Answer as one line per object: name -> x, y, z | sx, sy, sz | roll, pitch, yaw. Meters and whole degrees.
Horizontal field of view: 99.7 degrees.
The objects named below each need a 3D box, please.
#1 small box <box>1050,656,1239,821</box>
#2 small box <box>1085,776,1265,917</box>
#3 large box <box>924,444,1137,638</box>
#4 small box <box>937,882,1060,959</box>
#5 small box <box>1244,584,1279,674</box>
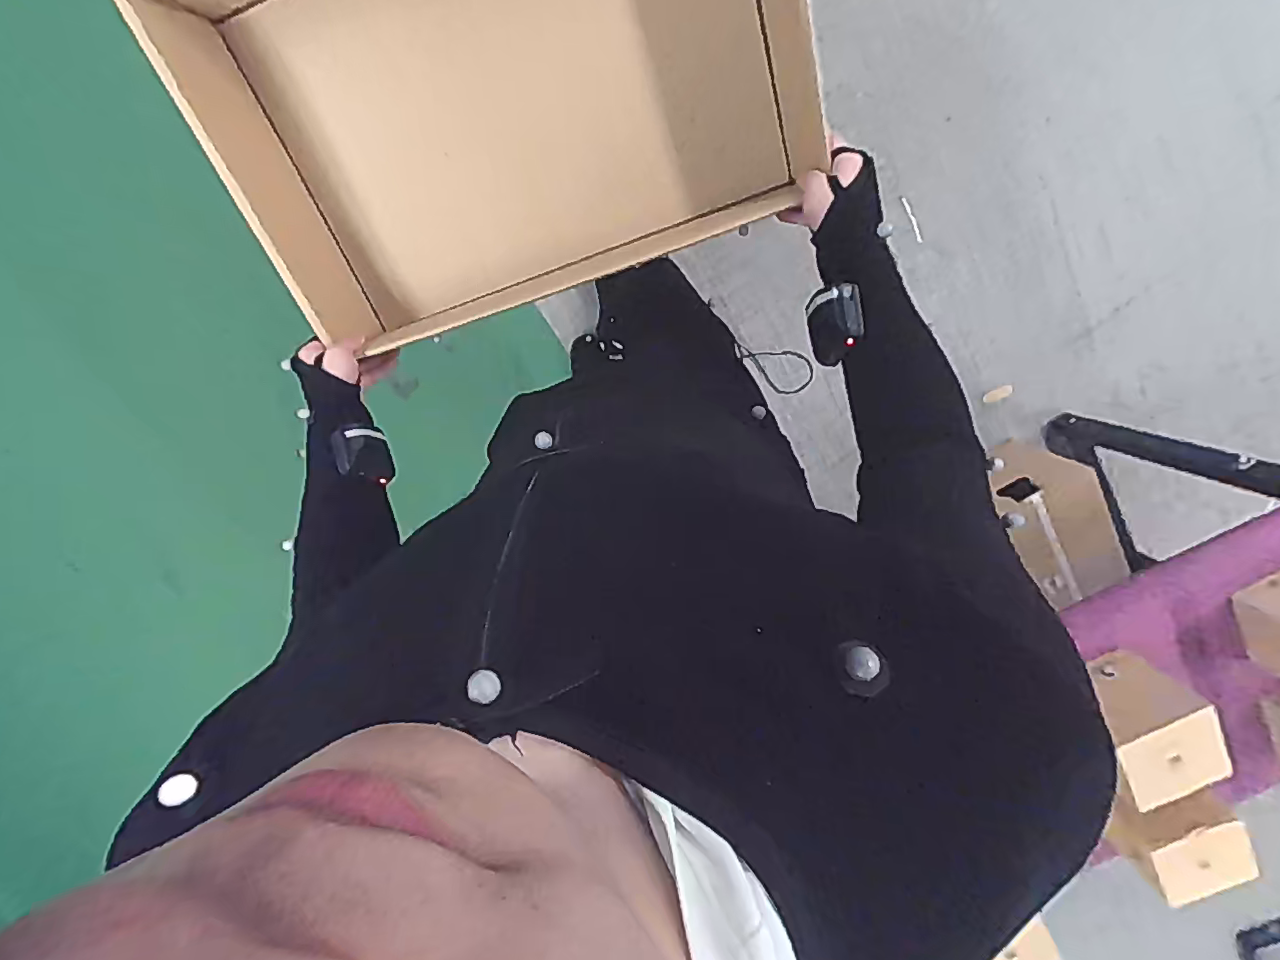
small box -> 0.893, 0.456, 0.972 | 0.168, 0.176, 0.179 | -30, 107, 7
small box -> 1.026, 0.684, 1.050 | 0.168, 0.176, 0.179 | -29, 105, 8
large box -> 1.117, 0.165, 1.579 | 0.320, 0.320, 0.408 | -31, 107, 9
small box -> 0.707, 0.895, 1.105 | 0.168, 0.176, 0.179 | -30, 105, 6
small box -> 1.201, 0.271, 0.918 | 0.168, 0.176, 0.179 | -32, 107, 9
